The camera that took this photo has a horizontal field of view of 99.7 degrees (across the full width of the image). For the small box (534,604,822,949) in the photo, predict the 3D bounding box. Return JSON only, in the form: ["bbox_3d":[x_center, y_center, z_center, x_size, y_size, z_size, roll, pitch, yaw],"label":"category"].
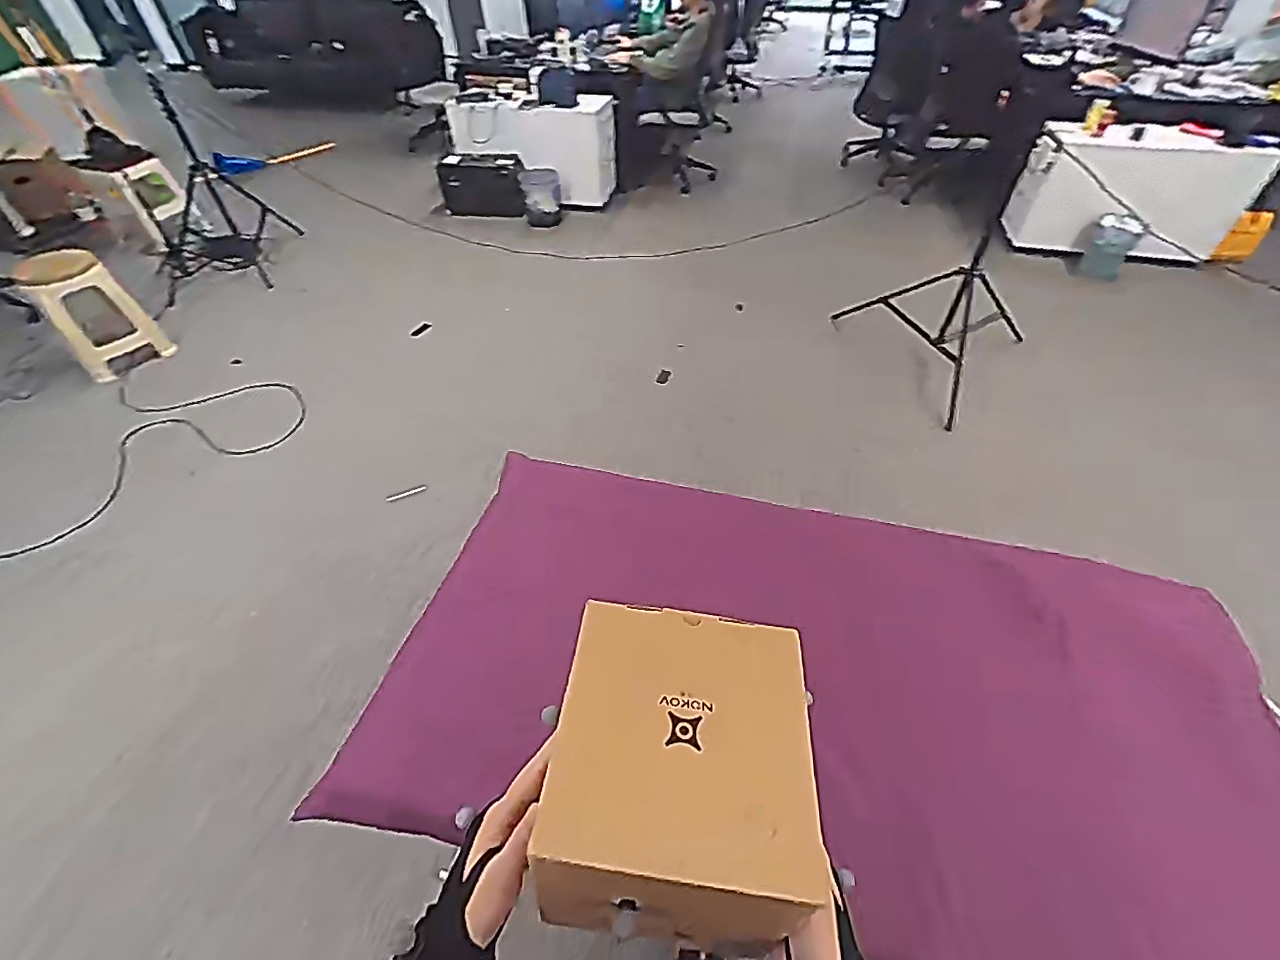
[{"bbox_3d":[0.026,0.225,0.414,0.168,0.176,0.179,7,39,3],"label":"small box"}]
